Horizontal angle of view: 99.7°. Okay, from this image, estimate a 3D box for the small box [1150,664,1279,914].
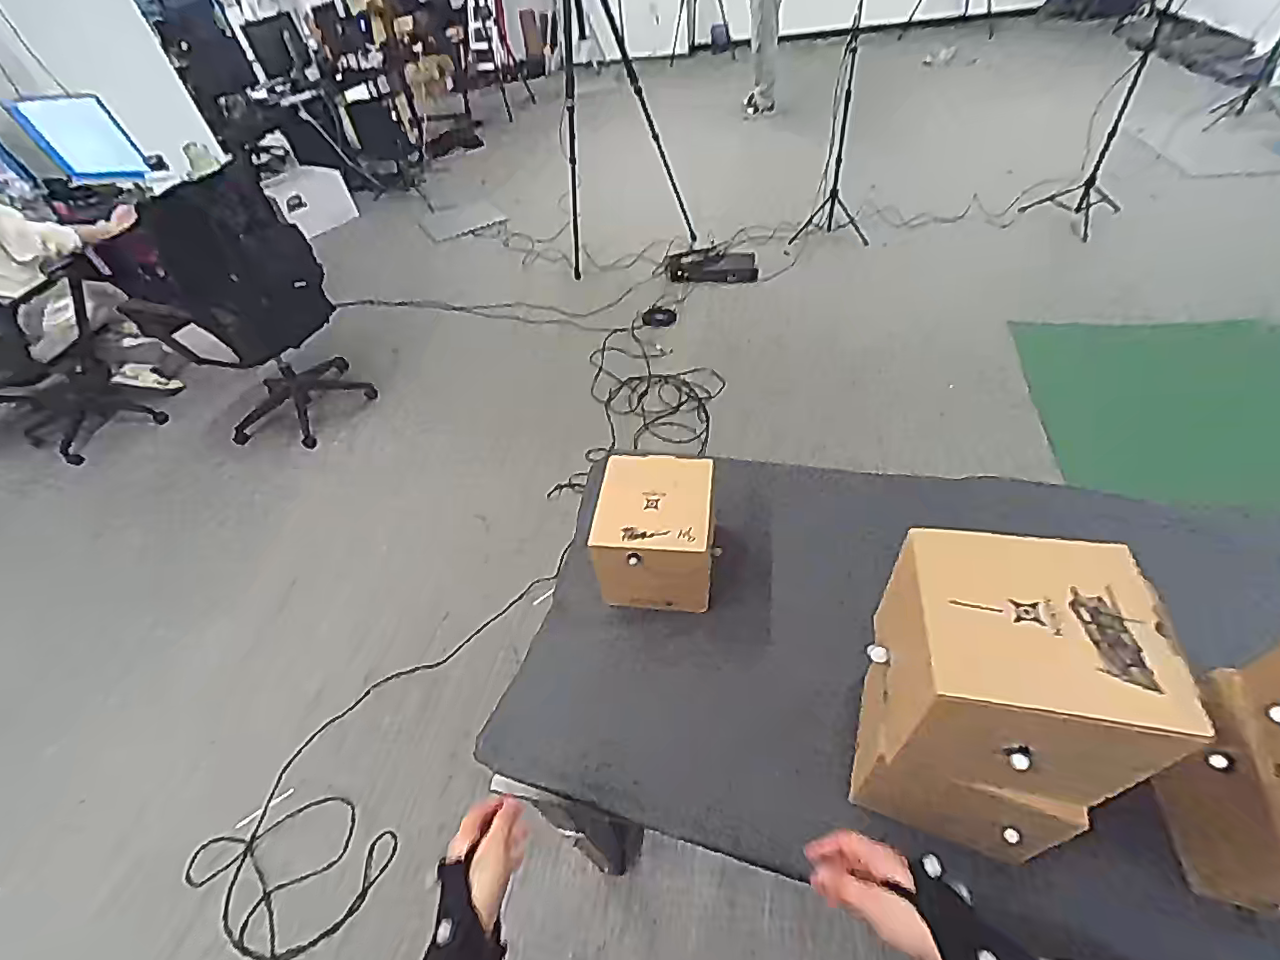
[{"bbox_3d":[0.652,0.310,0.529,0.168,0.176,0.179,4,47,15],"label":"small box"}]

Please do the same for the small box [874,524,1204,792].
[{"bbox_3d":[0.326,0.163,0.493,0.179,0.176,0.168,5,47,14],"label":"small box"}]

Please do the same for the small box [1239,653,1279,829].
[{"bbox_3d":[0.629,0.209,0.404,0.179,0.176,0.168,13,49,22],"label":"small box"}]

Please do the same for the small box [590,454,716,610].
[{"bbox_3d":[0.030,0.080,0.847,0.168,0.176,0.179,2,48,11],"label":"small box"}]
